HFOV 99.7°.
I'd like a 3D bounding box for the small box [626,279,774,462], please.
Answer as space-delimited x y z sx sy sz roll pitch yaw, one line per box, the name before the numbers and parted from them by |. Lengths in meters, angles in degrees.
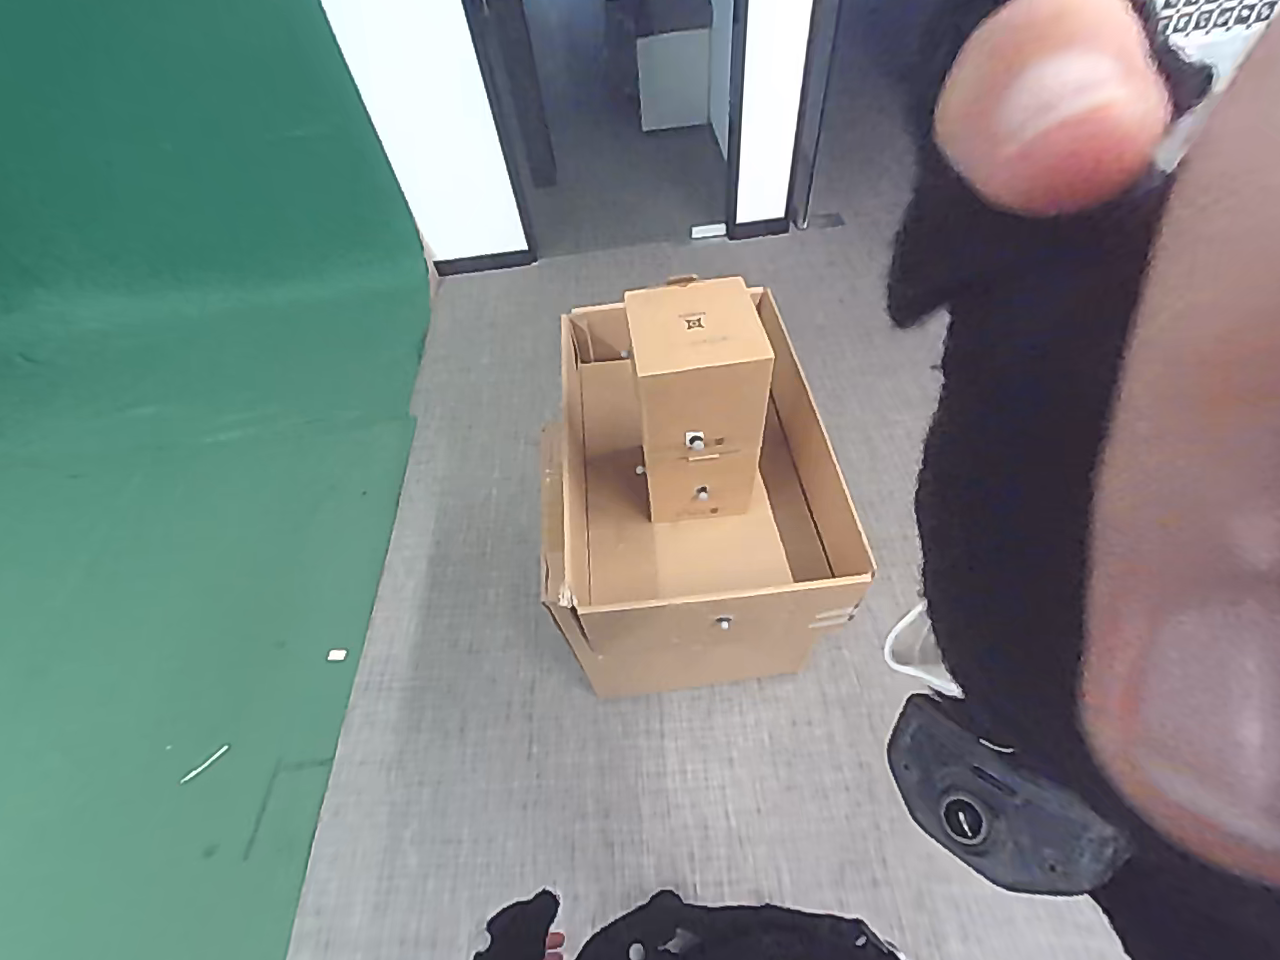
small box | 0.076 -0.150 0.755 0.168 0.176 0.179 -9 53 -1
